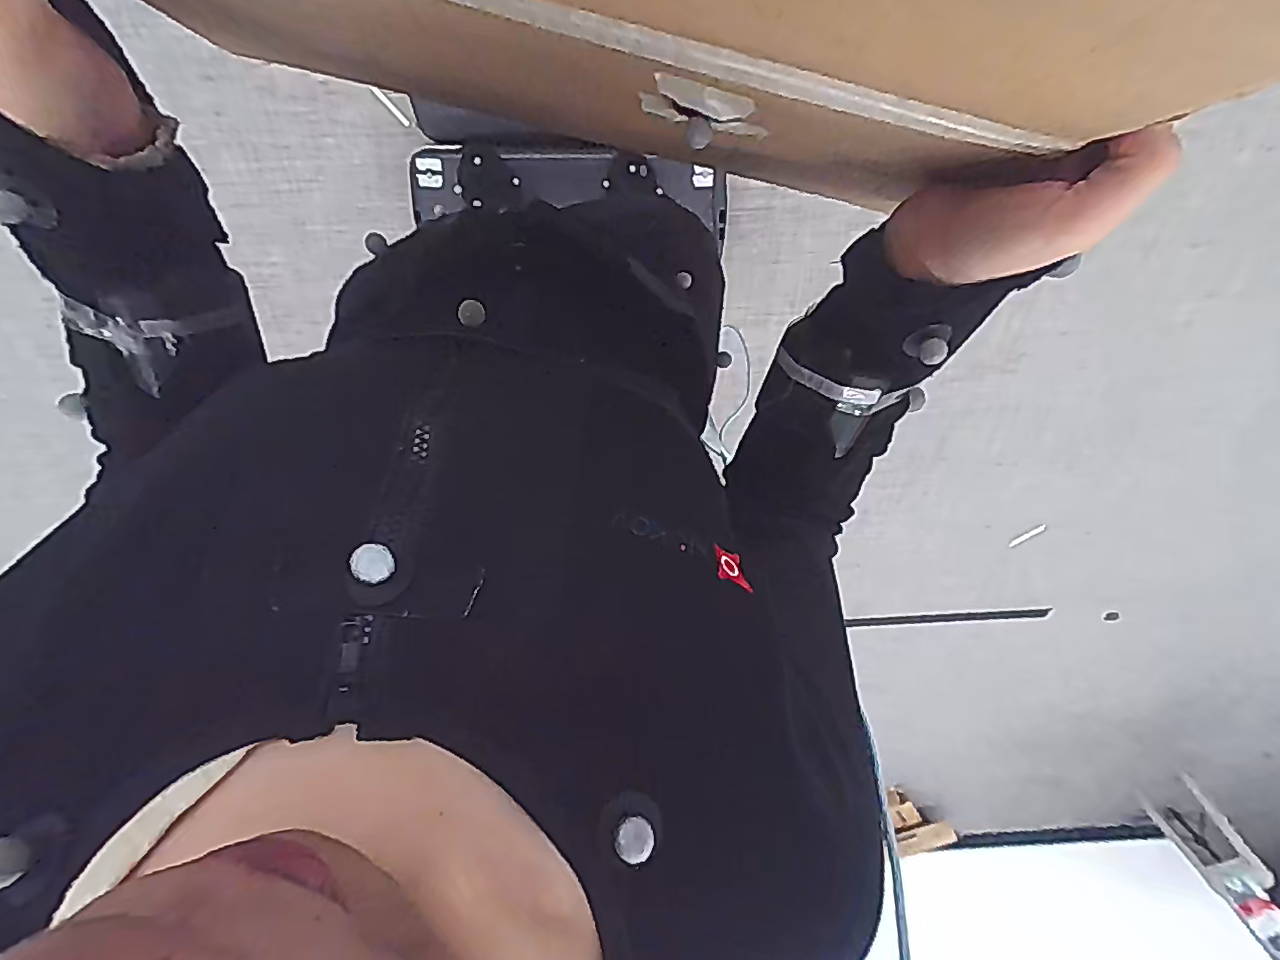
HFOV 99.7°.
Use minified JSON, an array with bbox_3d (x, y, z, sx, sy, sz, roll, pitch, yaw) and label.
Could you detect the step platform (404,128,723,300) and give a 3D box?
[{"bbox_3d":[-0.158,-0.589,1.215,0.684,0.204,0.286,4,123,-4],"label":"step platform"}]
